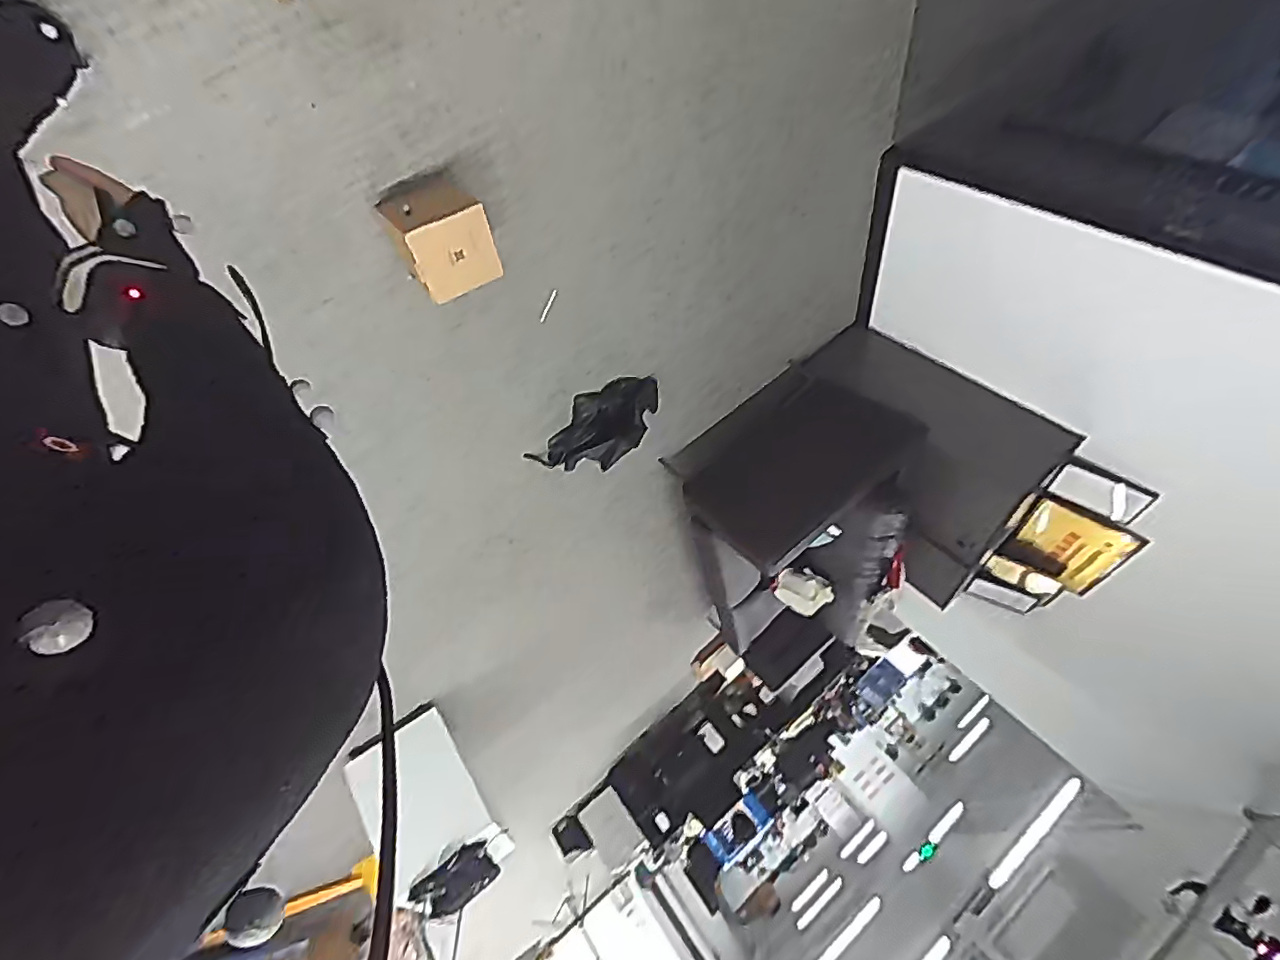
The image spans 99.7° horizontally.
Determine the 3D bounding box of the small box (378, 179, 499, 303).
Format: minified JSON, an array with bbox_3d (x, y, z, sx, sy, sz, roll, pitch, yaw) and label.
[{"bbox_3d":[-0.440,-0.521,1.173,0.179,0.176,0.168,-34,148,-19],"label":"small box"}]
